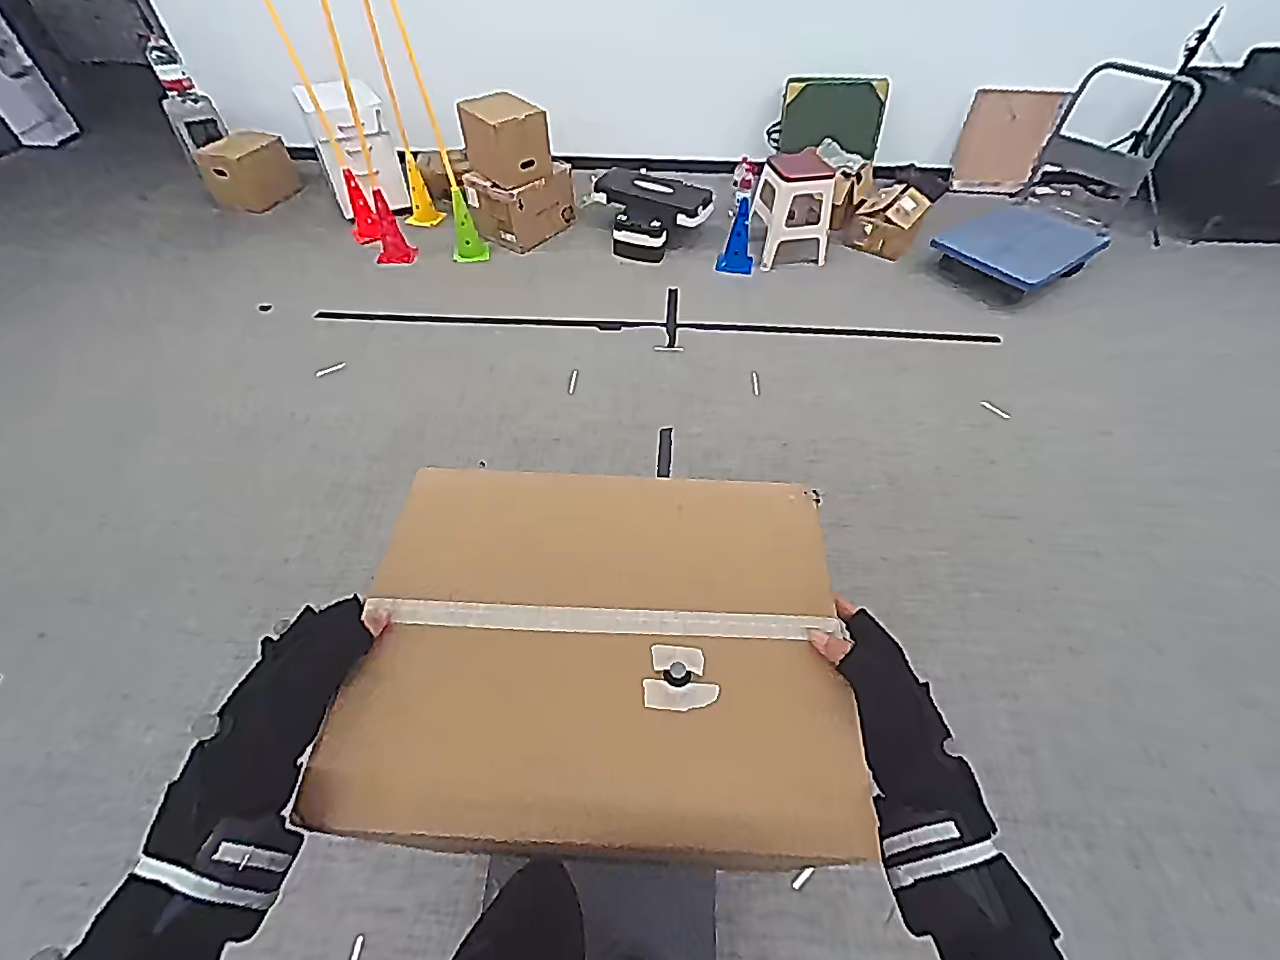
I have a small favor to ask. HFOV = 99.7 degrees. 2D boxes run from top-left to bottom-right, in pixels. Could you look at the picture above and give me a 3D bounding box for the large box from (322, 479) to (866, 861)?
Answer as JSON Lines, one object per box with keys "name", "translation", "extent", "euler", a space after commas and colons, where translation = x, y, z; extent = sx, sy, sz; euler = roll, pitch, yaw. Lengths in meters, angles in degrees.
{"name": "large box", "translation": [-0.032, 0.217, 0.595], "extent": [0.408, 0.320, 0.320], "euler": [3, 53, 1]}
